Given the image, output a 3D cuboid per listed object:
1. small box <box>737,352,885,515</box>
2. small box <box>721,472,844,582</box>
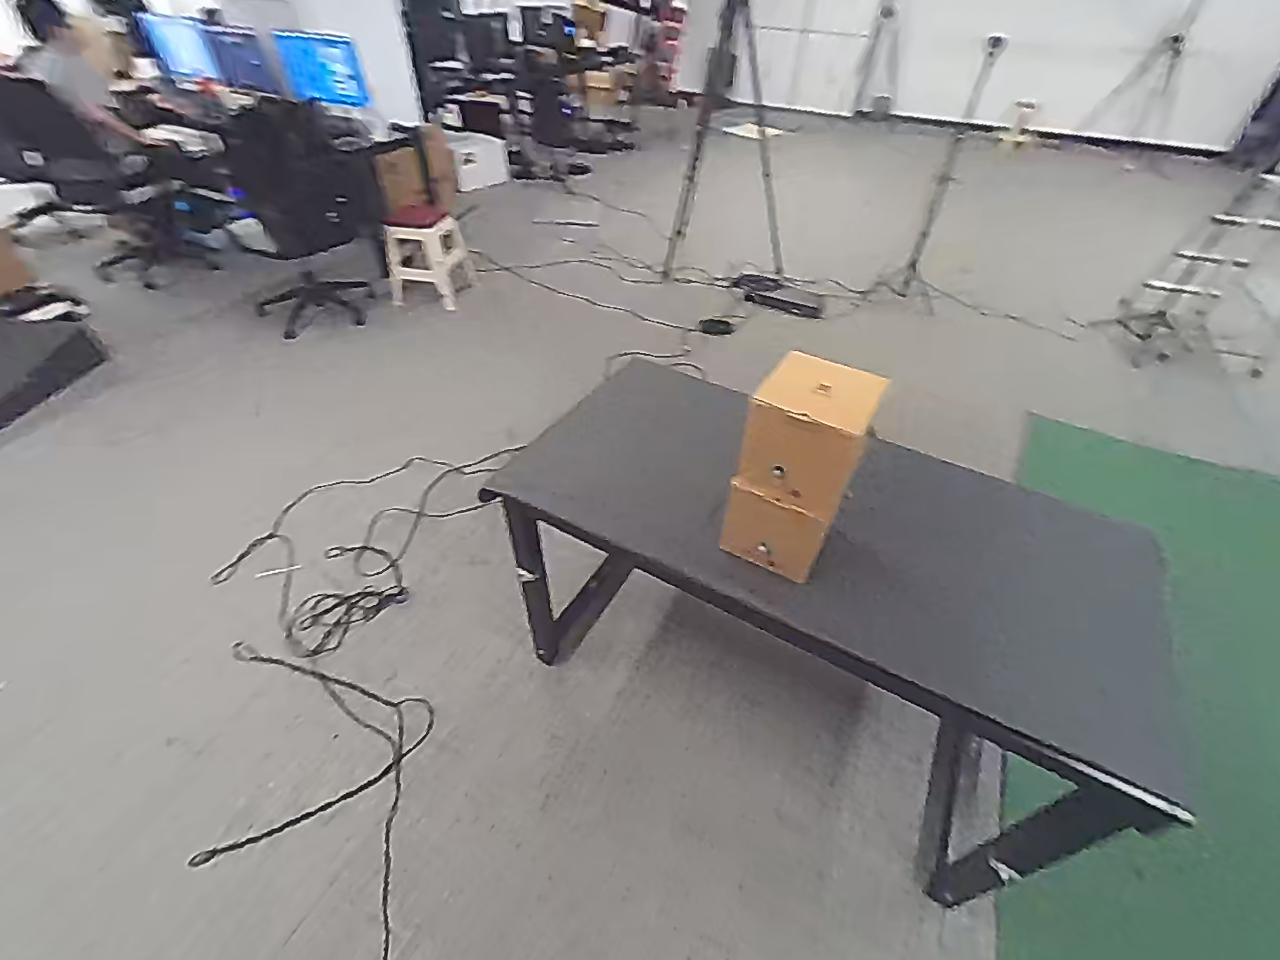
[{"bbox_3d":[0.270,-0.076,0.877,0.168,0.176,0.179,24,47,21],"label":"small box"},{"bbox_3d":[0.258,0.048,0.980,0.168,0.176,0.179,22,46,22],"label":"small box"}]
